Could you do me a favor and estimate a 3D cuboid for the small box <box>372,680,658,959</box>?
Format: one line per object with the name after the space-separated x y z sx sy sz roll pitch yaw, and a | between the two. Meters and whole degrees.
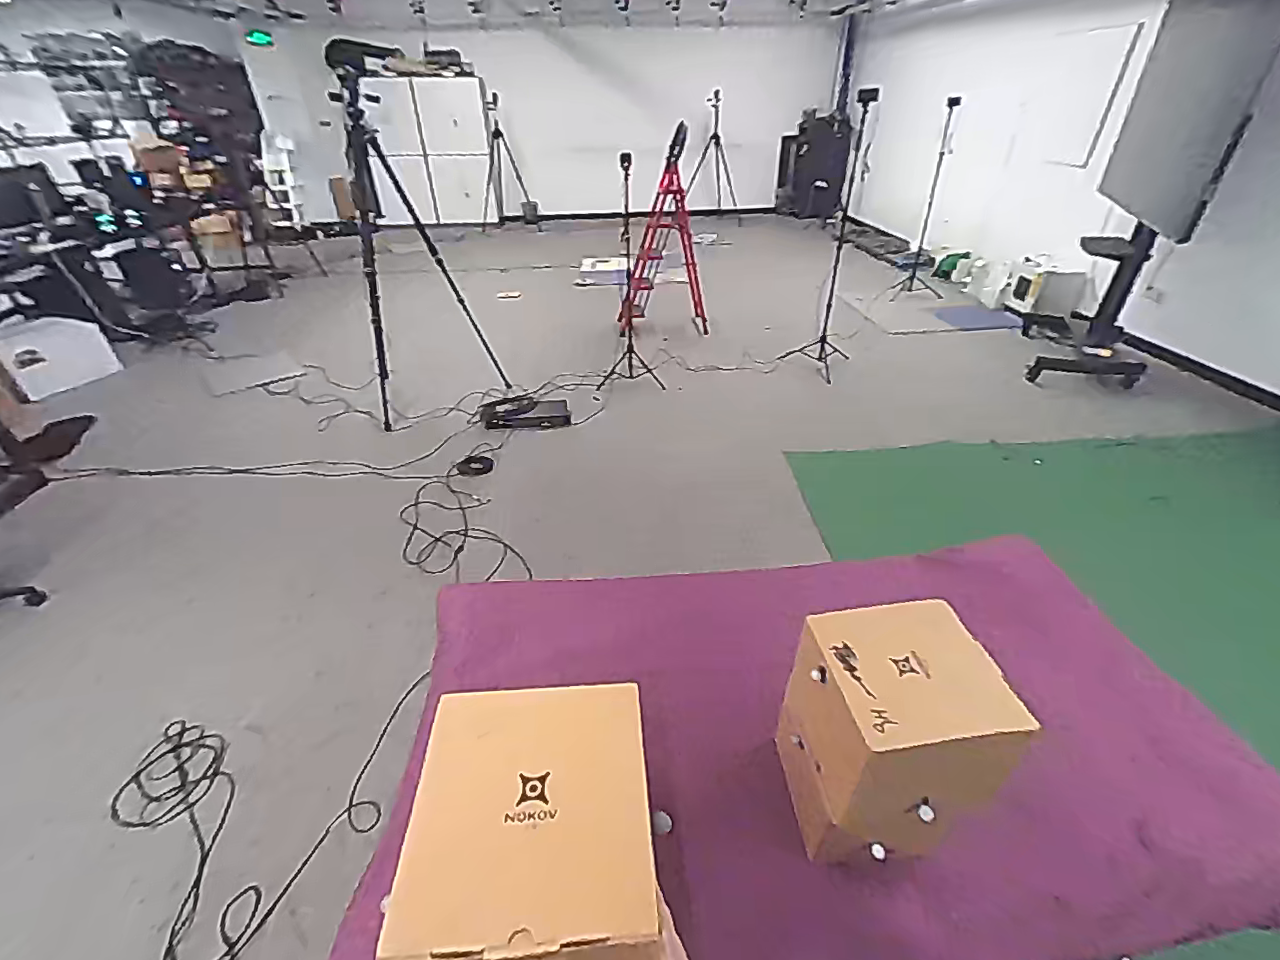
-0.080 0.283 0.420 0.168 0.176 0.179 -1 34 -5 | small box

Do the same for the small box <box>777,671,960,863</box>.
0.292 0.378 0.726 0.168 0.176 0.179 -3 35 -2 | small box

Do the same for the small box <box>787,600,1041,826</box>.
0.284 0.259 0.610 0.179 0.176 0.168 -4 35 -5 | small box
